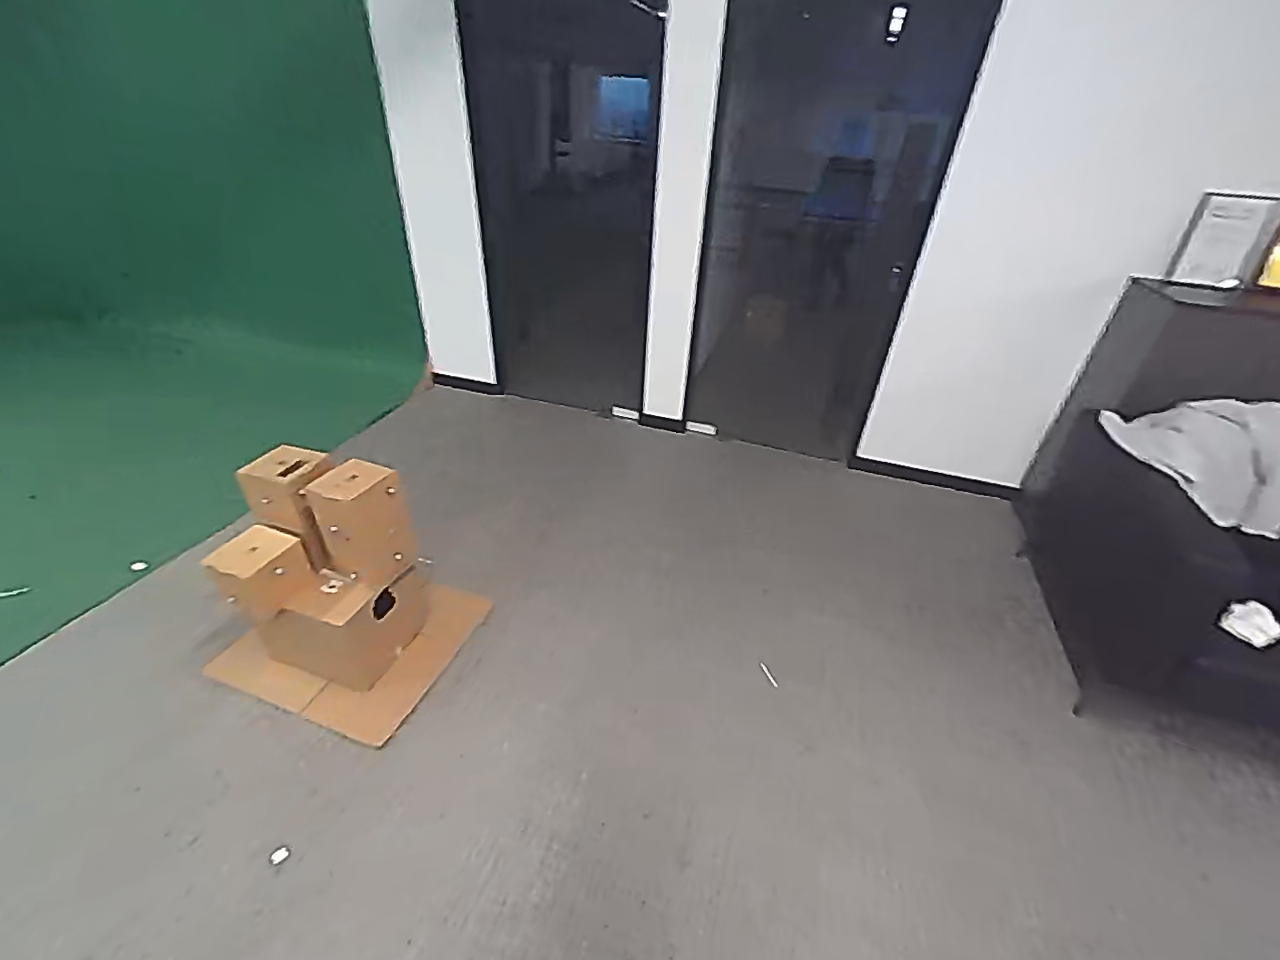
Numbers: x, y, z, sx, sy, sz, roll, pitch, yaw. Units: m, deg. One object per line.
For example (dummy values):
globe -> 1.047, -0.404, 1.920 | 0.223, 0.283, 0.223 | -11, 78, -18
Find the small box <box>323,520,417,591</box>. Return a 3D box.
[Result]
small box -> -0.813, 0.213, 1.646 | 0.179, 0.176, 0.168 | 13, 35, 18

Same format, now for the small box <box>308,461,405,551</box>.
small box -> -0.804, 0.073, 1.555 | 0.168, 0.176, 0.179 | 14, 35, 19
